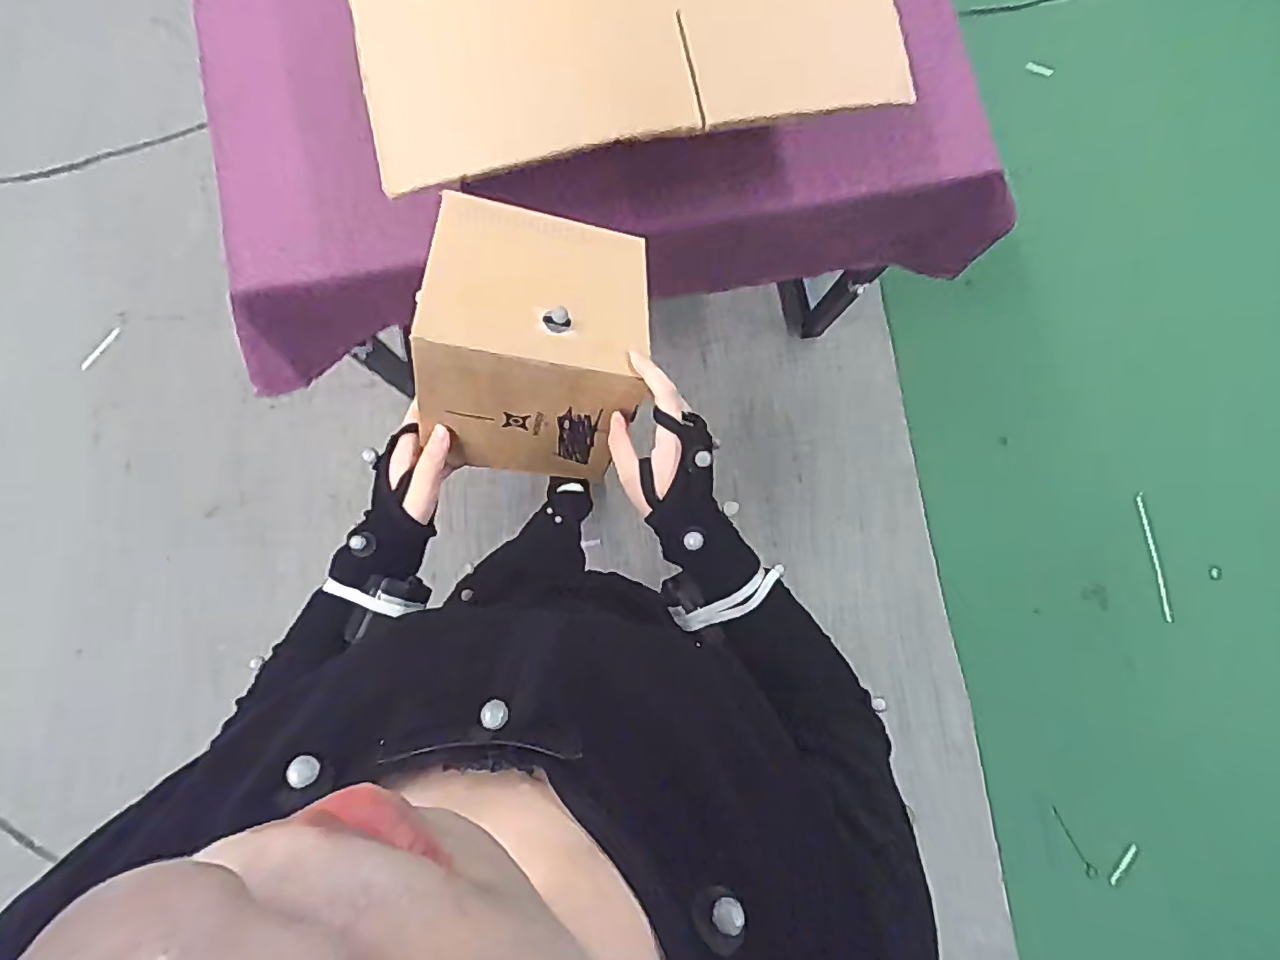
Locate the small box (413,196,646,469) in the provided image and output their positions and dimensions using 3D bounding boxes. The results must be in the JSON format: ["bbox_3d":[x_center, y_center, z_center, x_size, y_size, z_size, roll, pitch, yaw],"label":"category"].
[{"bbox_3d":[-0.102,-0.130,0.505,0.179,0.168,0.176,8,60,-15],"label":"small box"}]
